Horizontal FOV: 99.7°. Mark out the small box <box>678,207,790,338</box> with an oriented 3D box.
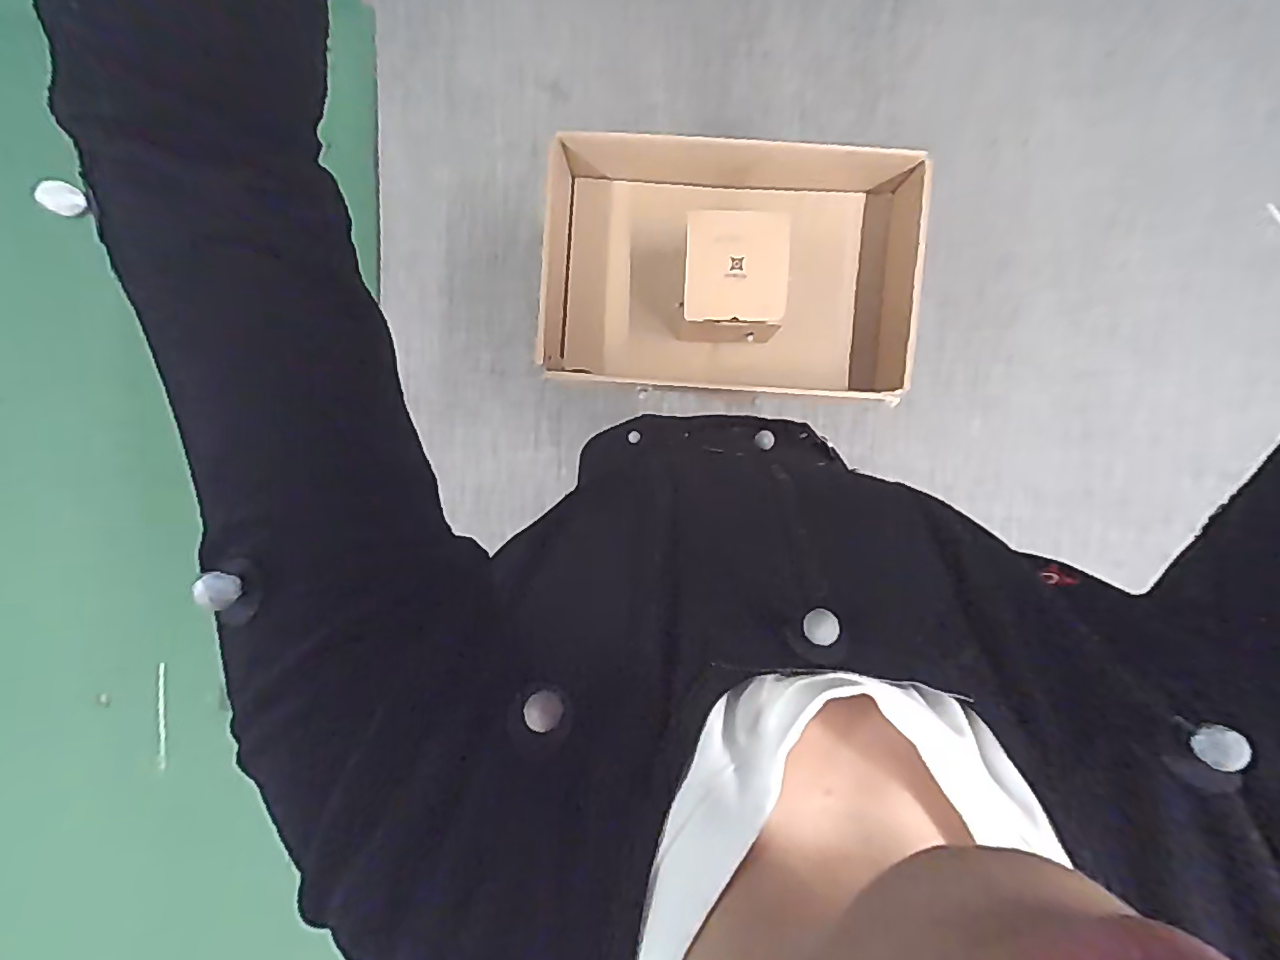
[{"bbox_3d":[0.155,-0.349,0.940,0.168,0.176,0.179,2,93,1],"label":"small box"}]
